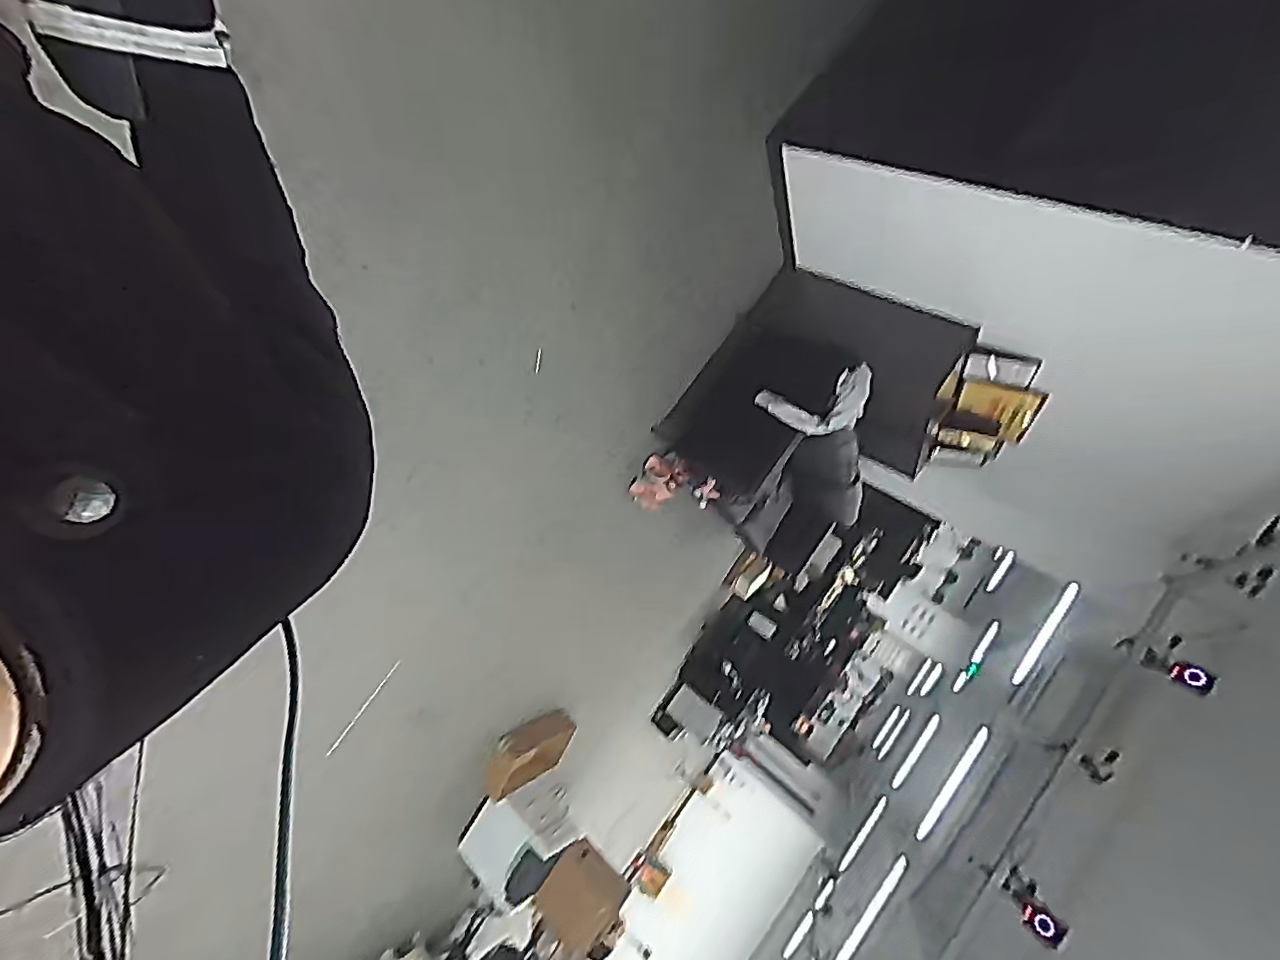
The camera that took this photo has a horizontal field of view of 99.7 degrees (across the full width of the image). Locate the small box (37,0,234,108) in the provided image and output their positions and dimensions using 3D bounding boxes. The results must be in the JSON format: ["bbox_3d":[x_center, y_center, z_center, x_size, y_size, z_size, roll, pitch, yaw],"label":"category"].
[{"bbox_3d":[-0.845,-0.775,0.904,0.179,0.176,0.168,-52,151,-6],"label":"small box"}]
